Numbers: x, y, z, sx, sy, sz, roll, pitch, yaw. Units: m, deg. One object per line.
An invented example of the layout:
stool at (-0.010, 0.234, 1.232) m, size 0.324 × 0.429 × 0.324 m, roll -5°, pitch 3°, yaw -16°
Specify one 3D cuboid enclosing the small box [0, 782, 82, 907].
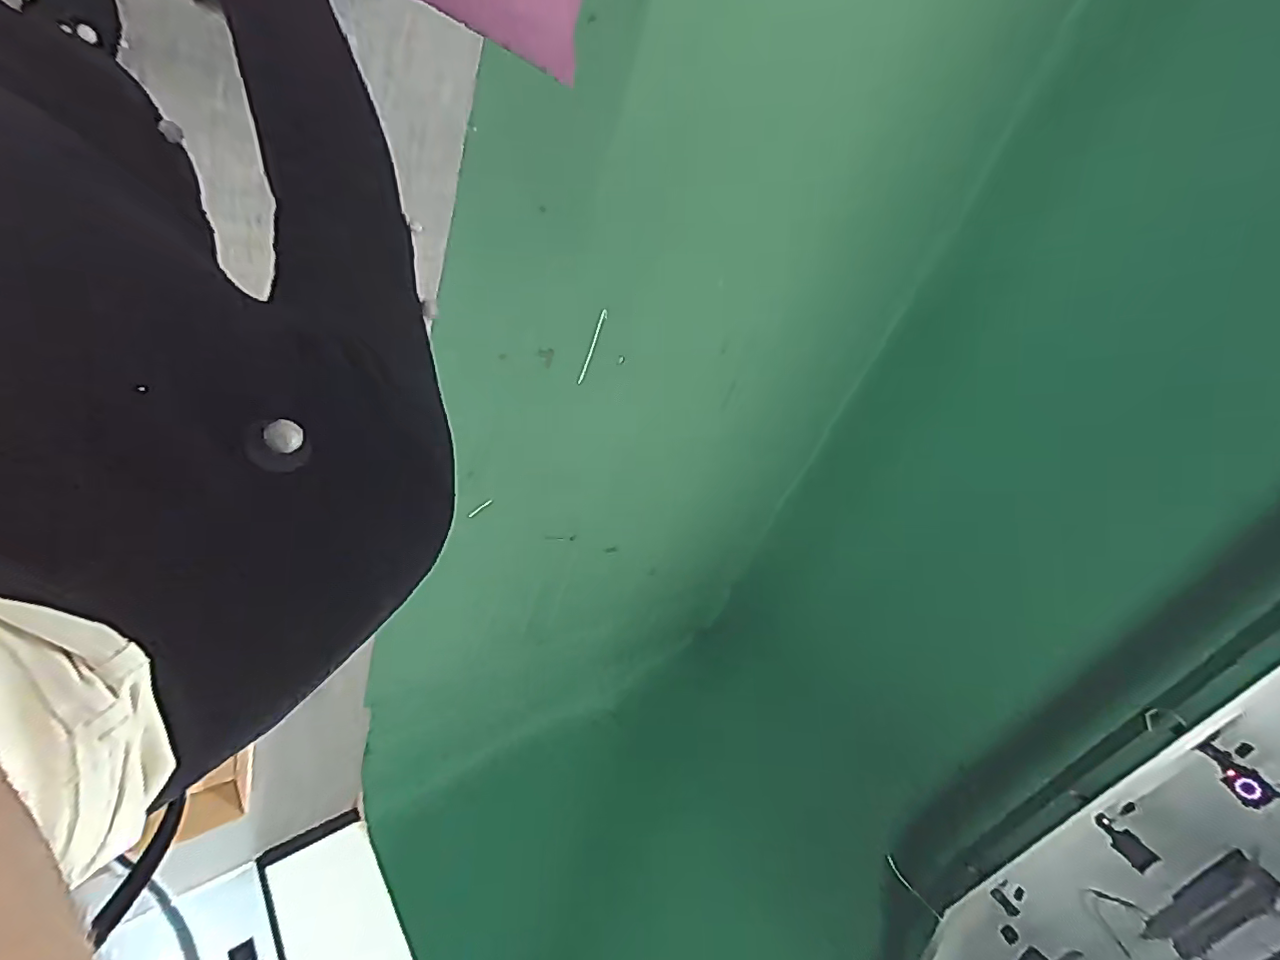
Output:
small box at (-1.457, 0.869, 1.292) m, size 0.168 × 0.176 × 0.179 m, roll -4°, pitch 127°, yaw -45°
